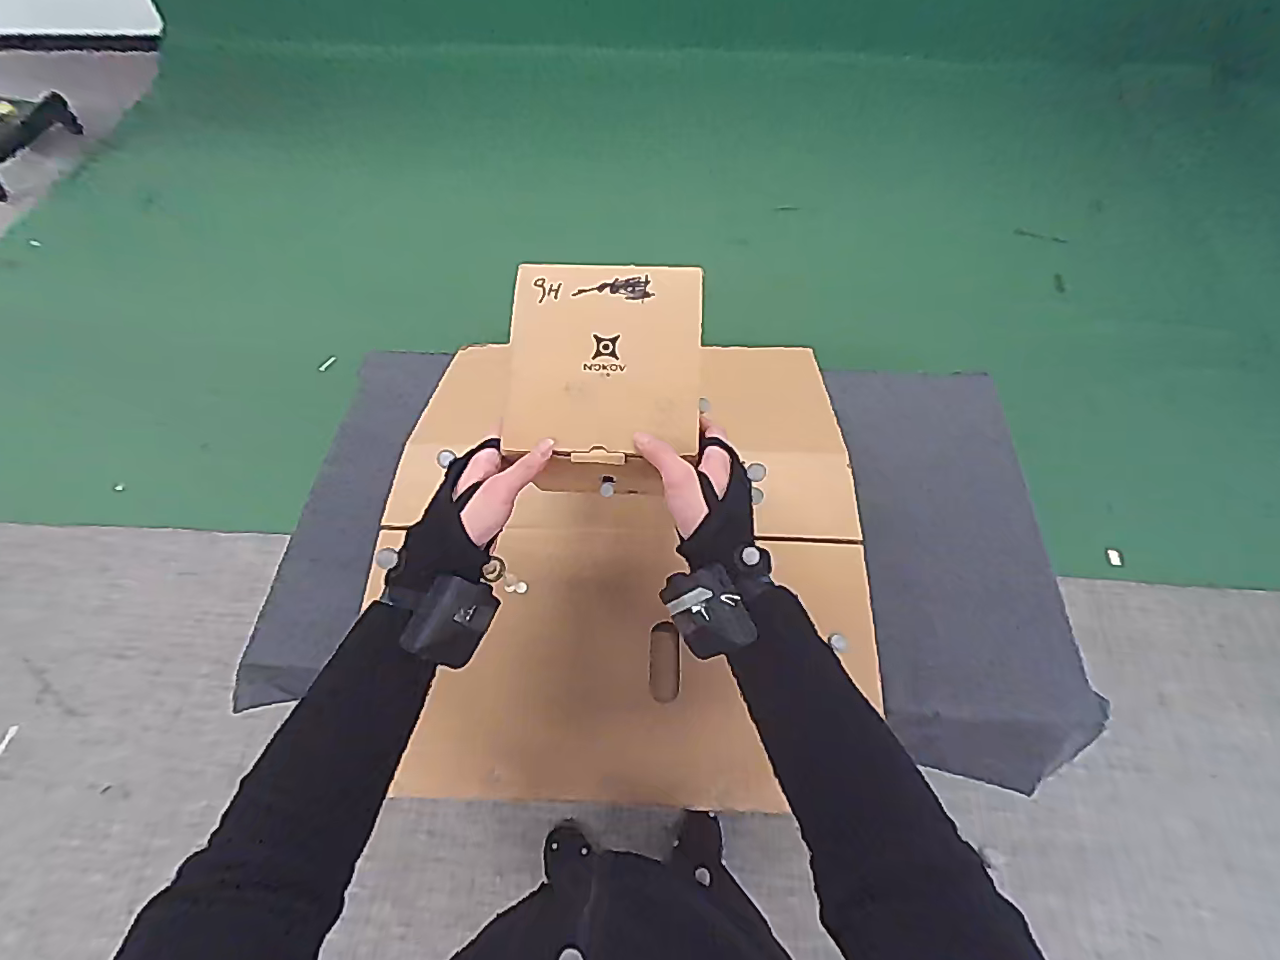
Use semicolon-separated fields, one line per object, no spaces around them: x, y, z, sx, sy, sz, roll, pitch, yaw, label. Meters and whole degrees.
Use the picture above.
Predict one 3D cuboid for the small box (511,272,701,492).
-0.023;-0.085;0.552;0.168;0.176;0.179;0;76;3;small box
